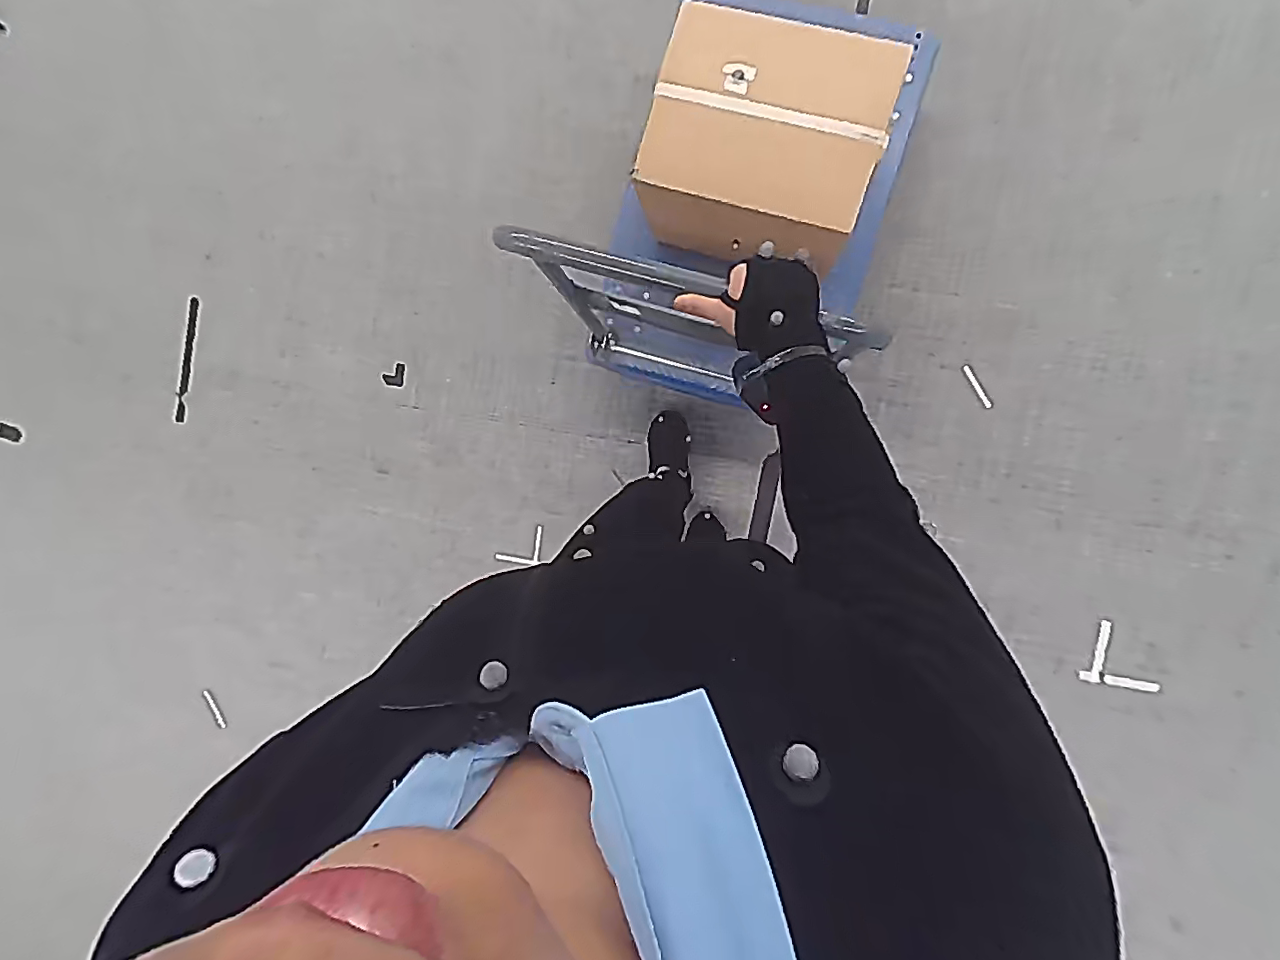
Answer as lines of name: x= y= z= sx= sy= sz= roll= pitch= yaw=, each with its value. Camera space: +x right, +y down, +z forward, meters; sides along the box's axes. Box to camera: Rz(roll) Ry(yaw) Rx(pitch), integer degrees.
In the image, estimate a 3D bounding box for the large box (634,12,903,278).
large box: x=0.244 y=-0.645 z=1.097 sx=0.408 sy=0.320 sz=0.320 roll=18 pitch=95 yaw=9
